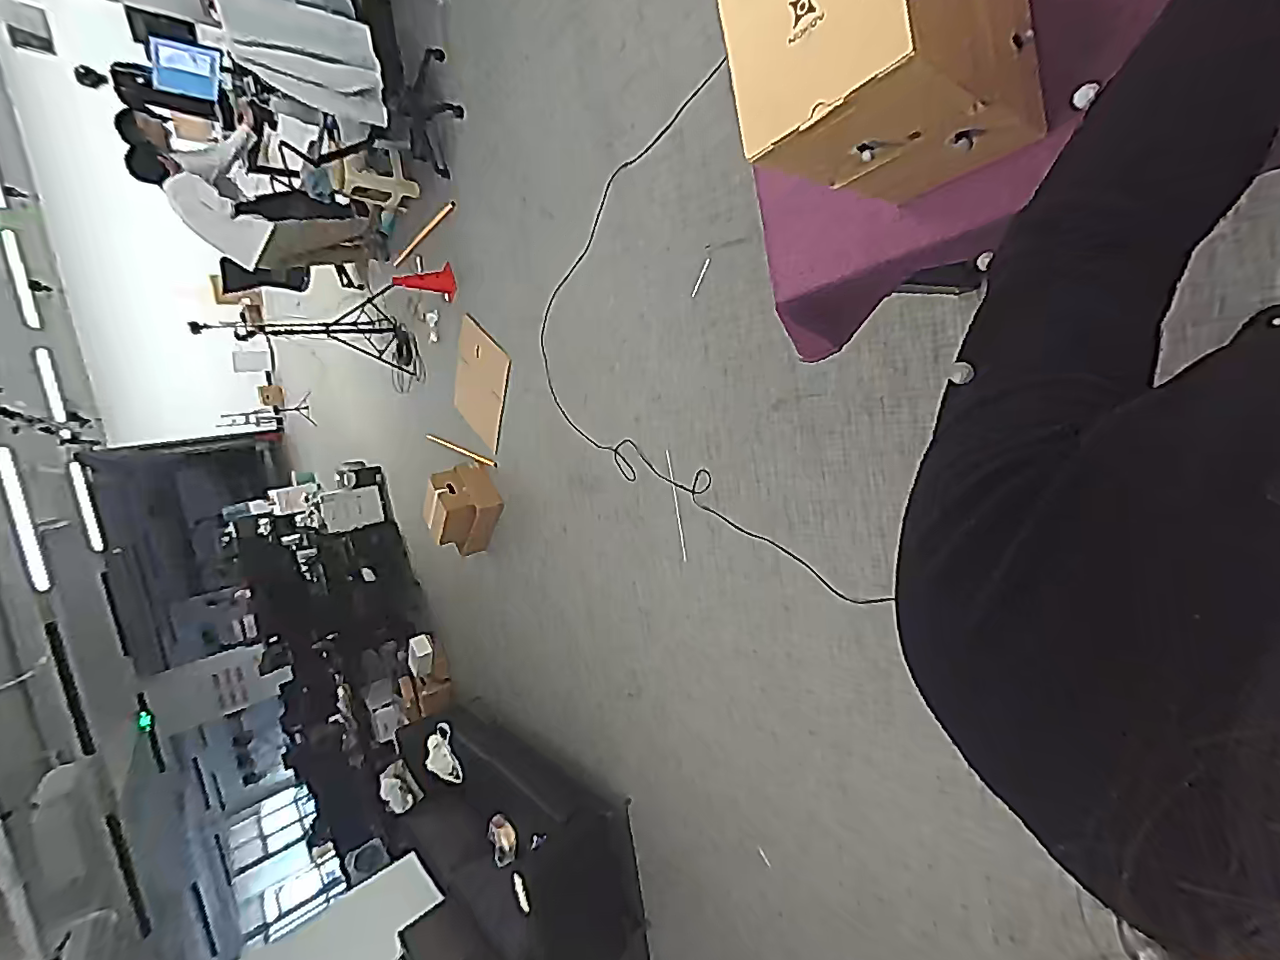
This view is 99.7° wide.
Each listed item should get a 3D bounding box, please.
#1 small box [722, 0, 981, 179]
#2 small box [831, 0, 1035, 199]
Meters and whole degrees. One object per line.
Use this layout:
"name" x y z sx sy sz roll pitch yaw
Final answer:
"small box" 0.206 -0.426 0.526 0.168 0.176 0.179 -5 98 50
"small box" 0.332 -0.453 0.626 0.179 0.176 0.168 -6 96 50
